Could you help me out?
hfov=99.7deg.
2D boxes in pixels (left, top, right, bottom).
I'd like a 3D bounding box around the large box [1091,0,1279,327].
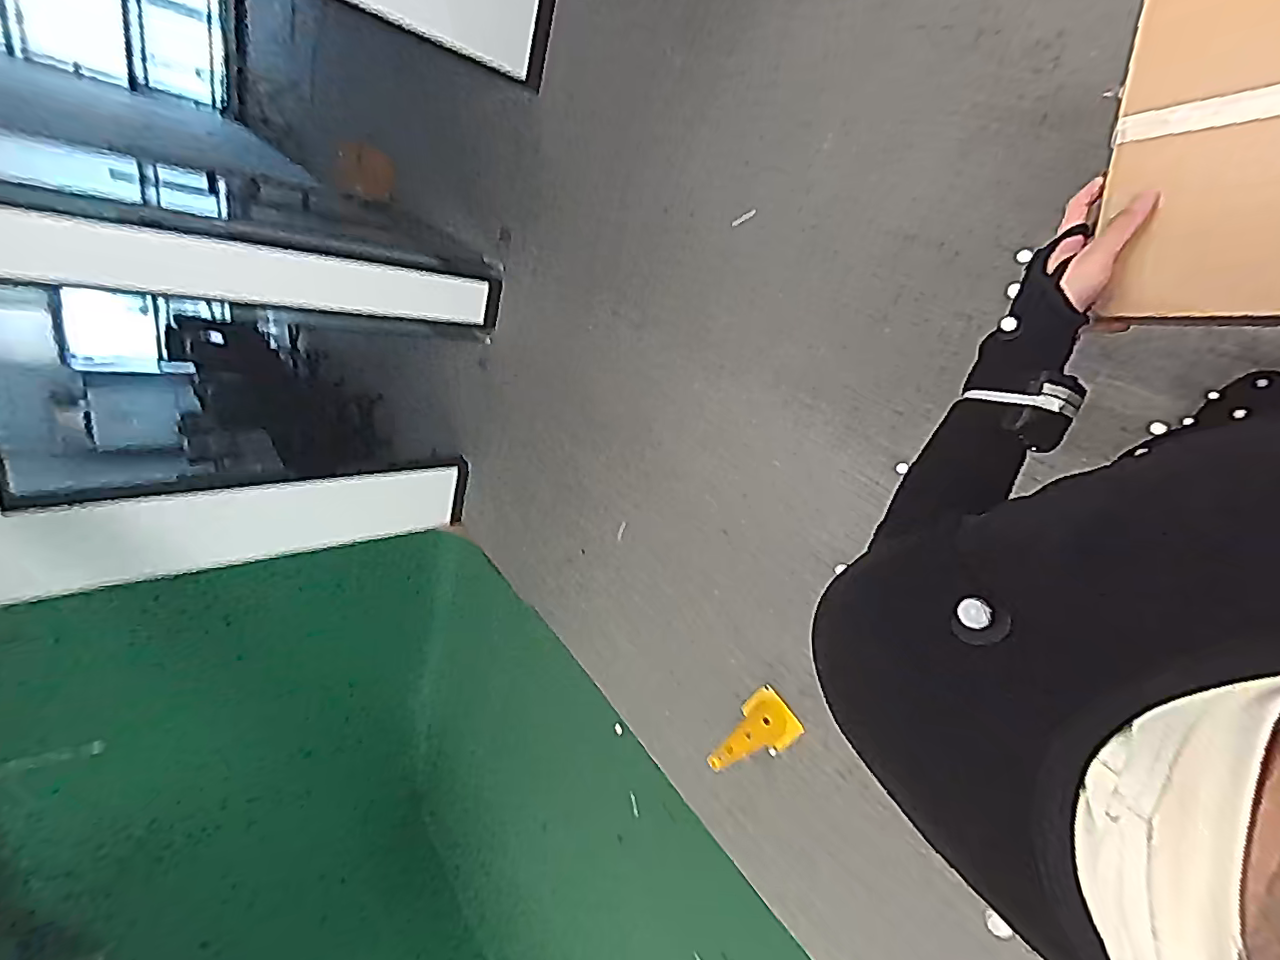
[{"bbox_3d":[0.670,-0.300,0.451,0.408,0.320,0.320,13,110,43],"label":"large box"}]
